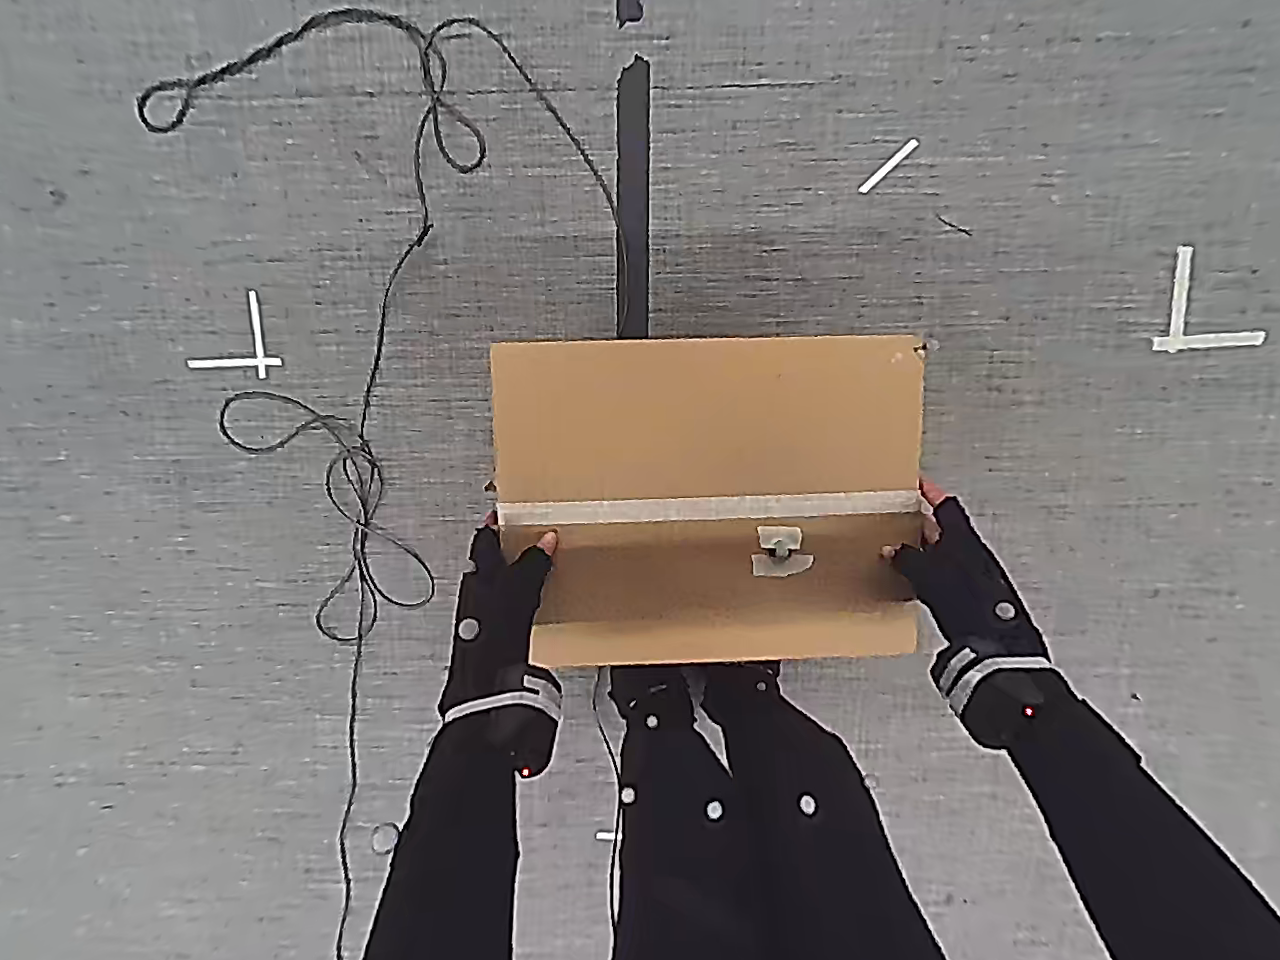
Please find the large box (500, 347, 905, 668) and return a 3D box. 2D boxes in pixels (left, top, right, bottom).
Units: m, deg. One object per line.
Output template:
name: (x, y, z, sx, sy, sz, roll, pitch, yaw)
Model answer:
large box: (0.062, 0.015, 0.690, 0.408, 0.320, 0.320, -2, 98, -2)
